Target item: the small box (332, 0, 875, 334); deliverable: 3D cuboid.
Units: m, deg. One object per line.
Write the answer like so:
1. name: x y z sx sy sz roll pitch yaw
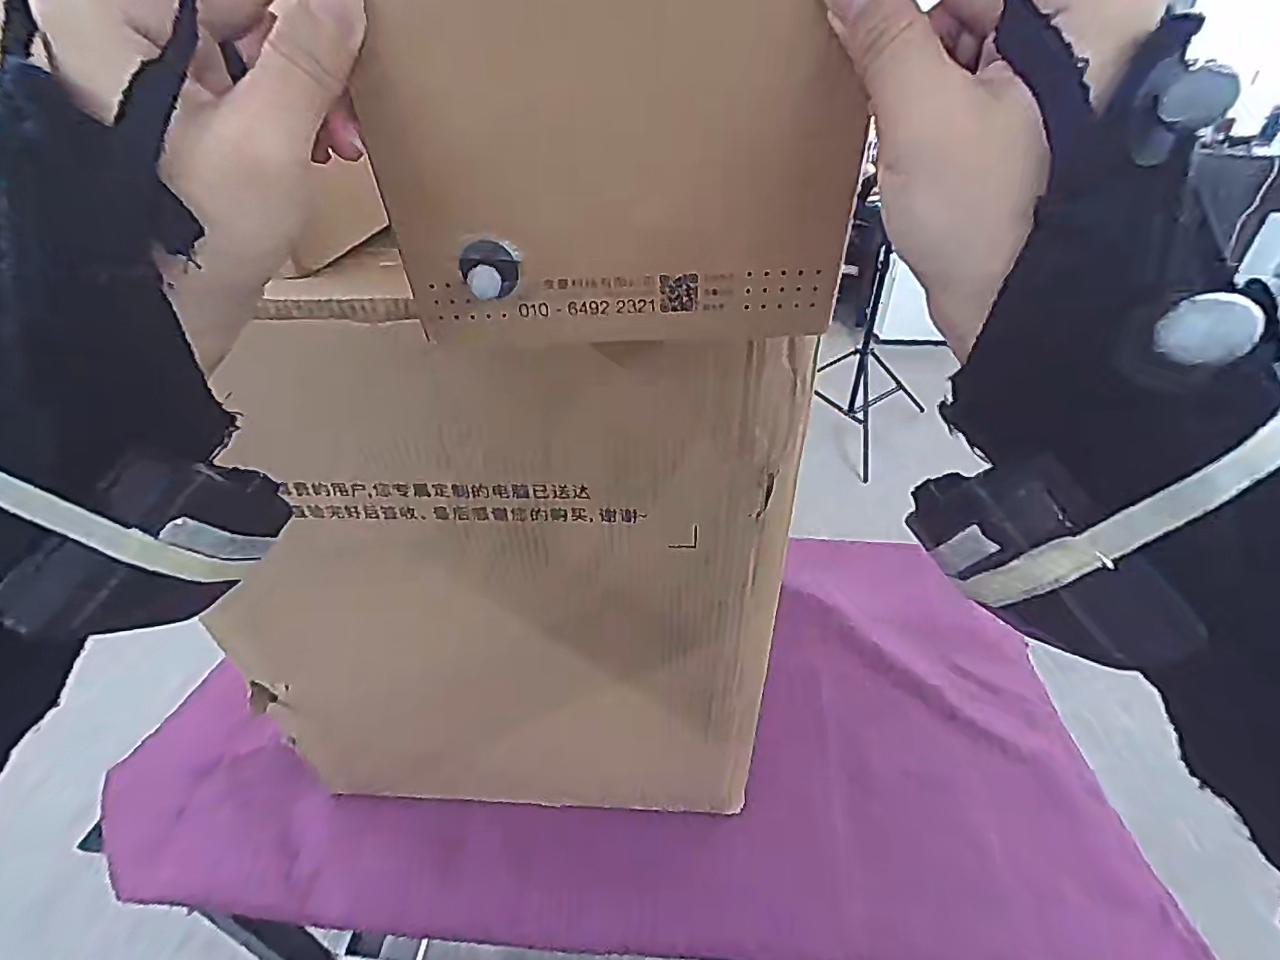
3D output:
1. small box: -0.007 -0.172 0.234 0.168 0.176 0.179 -2 40 2
